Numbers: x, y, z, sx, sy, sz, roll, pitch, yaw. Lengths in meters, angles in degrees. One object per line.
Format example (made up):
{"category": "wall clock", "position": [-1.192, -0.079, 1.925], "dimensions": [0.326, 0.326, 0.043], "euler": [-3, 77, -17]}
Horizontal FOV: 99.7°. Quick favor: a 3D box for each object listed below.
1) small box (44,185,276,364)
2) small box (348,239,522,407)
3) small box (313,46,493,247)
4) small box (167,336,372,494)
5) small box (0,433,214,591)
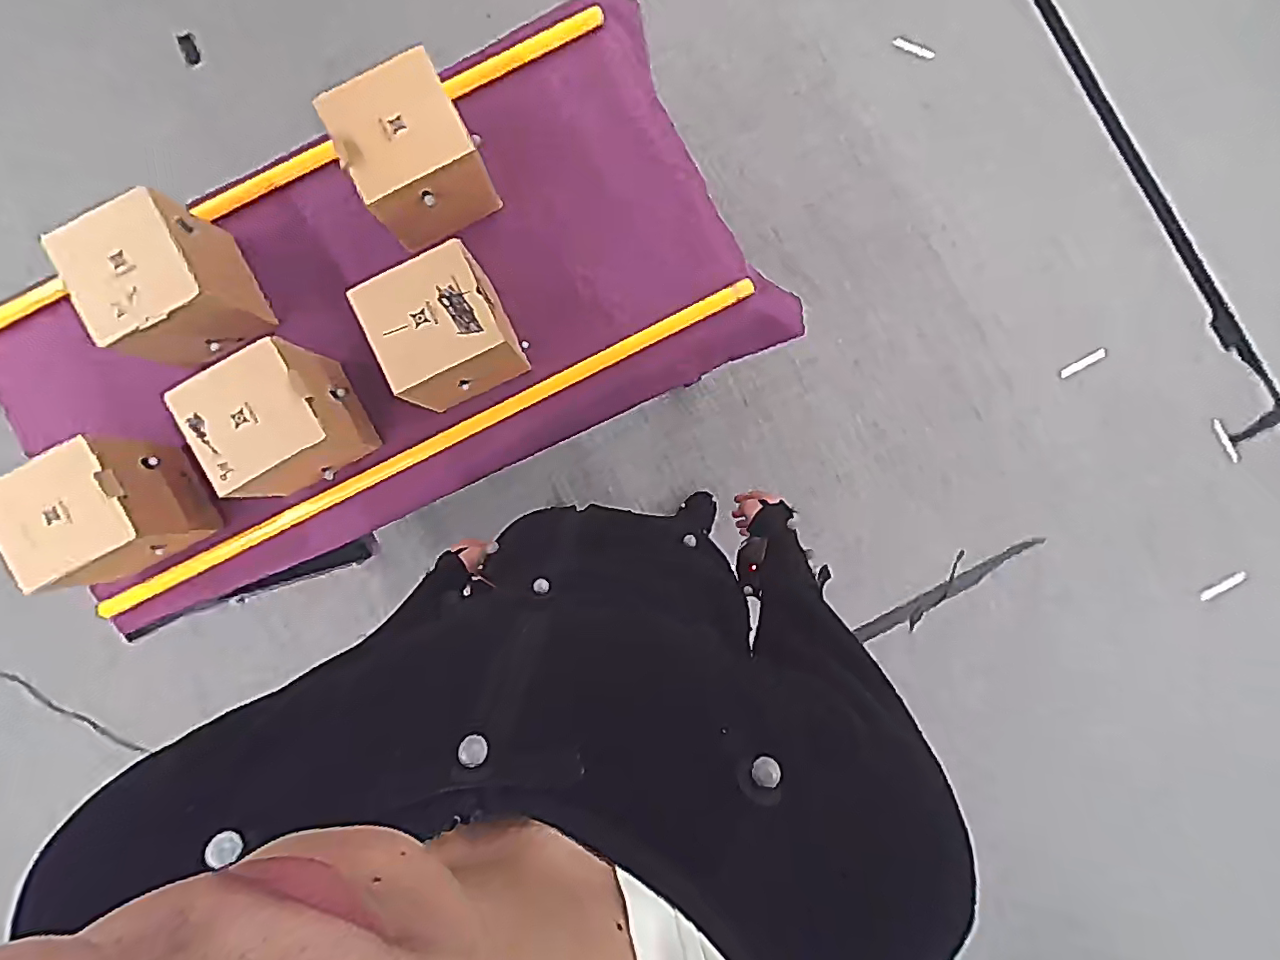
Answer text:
{"category": "small box", "position": [-0.720, -0.301, 0.833], "dimensions": [0.168, 0.176, 0.179], "euler": [-28, 92, 0]}
{"category": "small box", "position": [-0.297, -0.229, 0.833], "dimensions": [0.179, 0.176, 0.168], "euler": [-26, 88, 1]}
{"category": "small box", "position": [-0.345, -0.498, 0.835], "dimensions": [0.179, 0.176, 0.168], "euler": [-28, 91, 1]}
{"category": "small box", "position": [-0.547, -0.092, 0.833], "dimensions": [0.179, 0.176, 0.168], "euler": [-29, 90, -1]}
{"category": "small box", "position": [-0.809, 0.045, 0.830], "dimensions": [0.179, 0.176, 0.168], "euler": [-29, 89, -2]}
